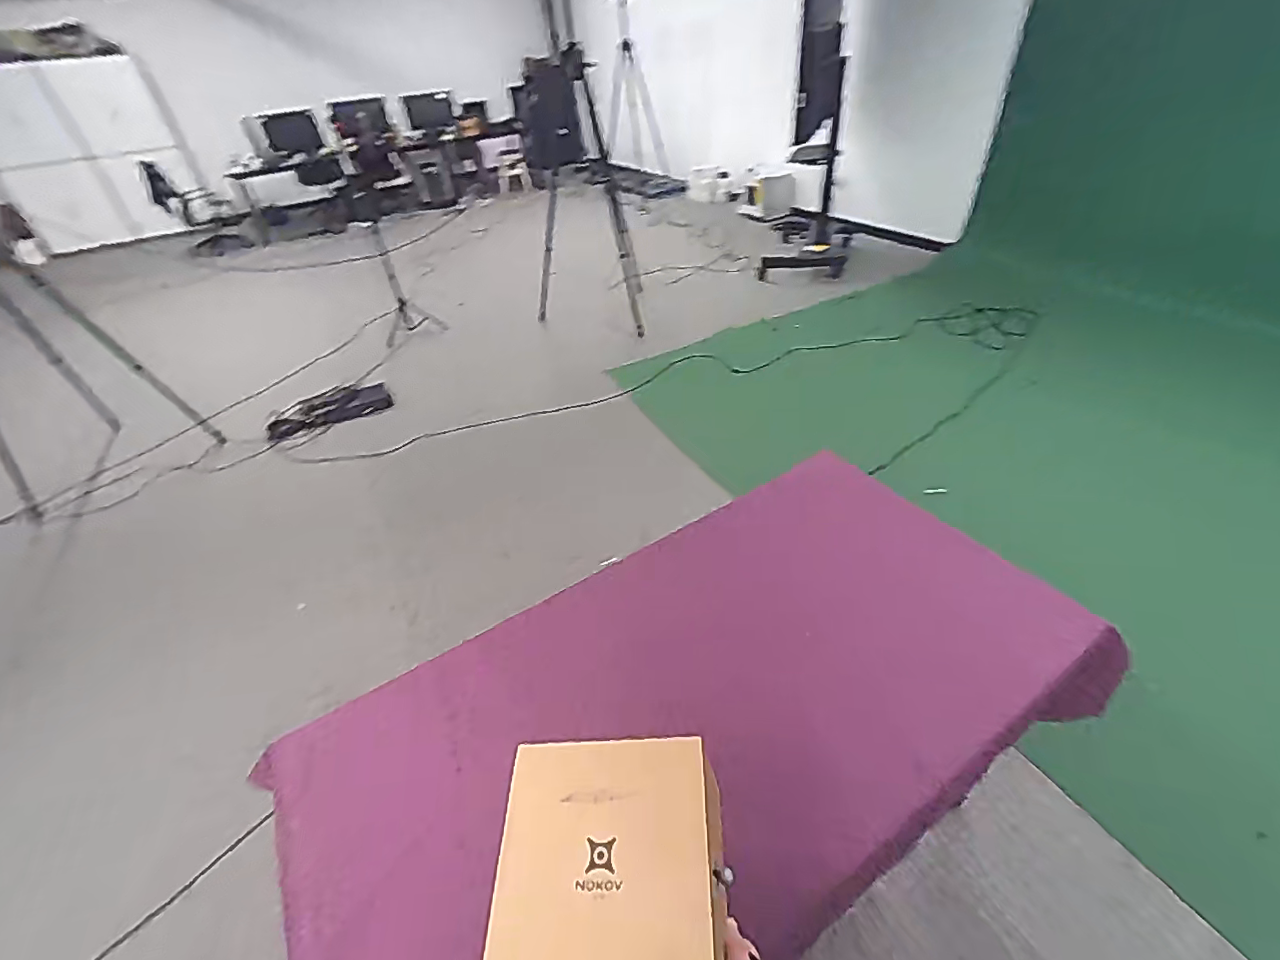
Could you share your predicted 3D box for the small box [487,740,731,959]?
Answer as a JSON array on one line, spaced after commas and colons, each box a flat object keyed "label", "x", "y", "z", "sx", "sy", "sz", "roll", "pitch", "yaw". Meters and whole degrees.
[{"label": "small box", "x": -0.011, "y": 0.344, "z": 0.470, "sx": 0.168, "sy": 0.176, "sz": 0.179, "roll": -5, "pitch": 46, "yaw": 9}]
